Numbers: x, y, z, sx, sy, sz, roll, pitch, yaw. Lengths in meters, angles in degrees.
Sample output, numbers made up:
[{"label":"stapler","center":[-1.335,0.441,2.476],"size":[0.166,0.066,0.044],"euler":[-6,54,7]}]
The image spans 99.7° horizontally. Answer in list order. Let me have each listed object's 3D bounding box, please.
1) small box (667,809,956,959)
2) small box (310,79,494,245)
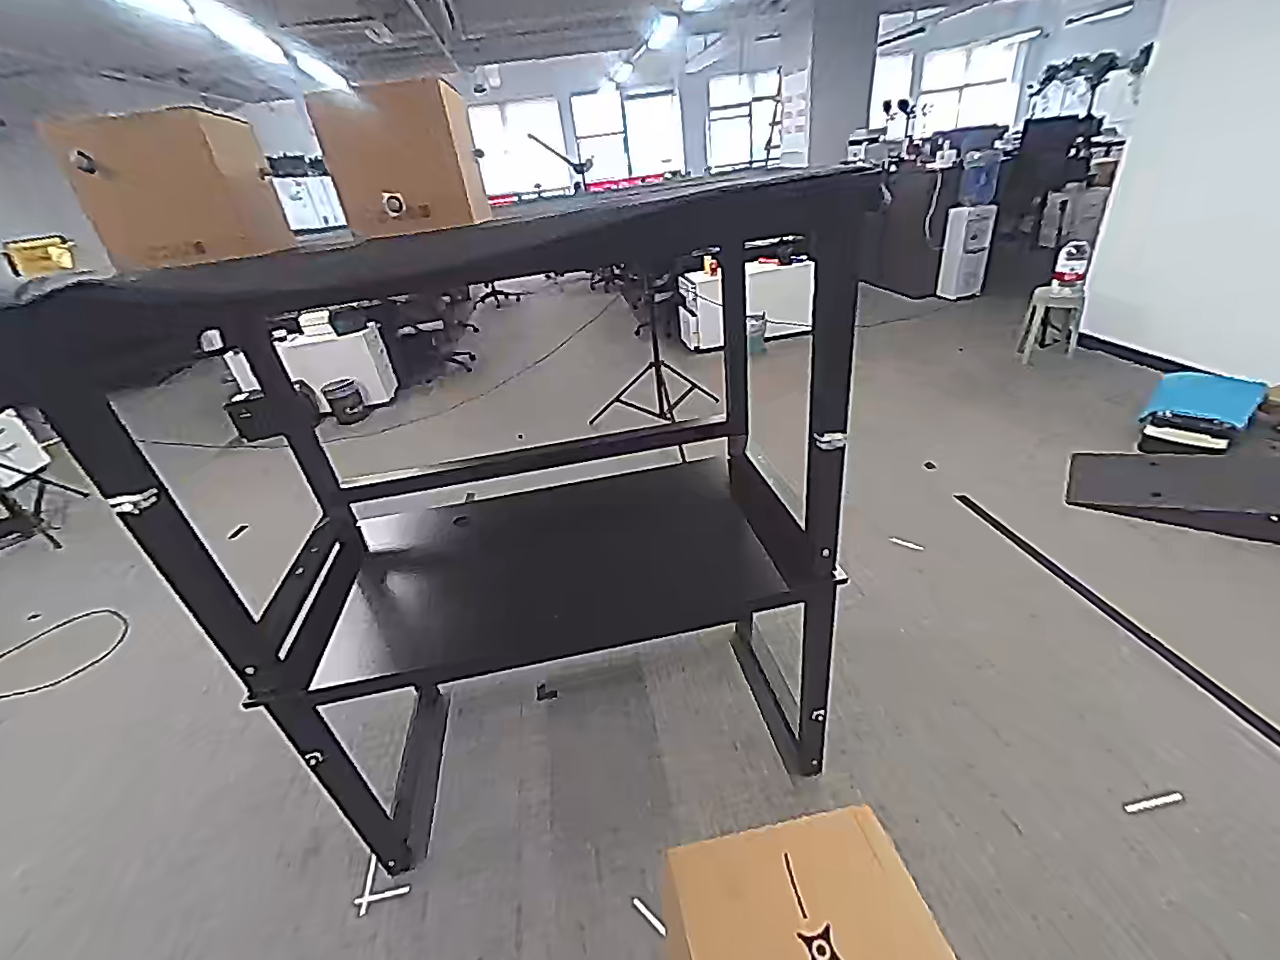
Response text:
[{"label":"small box","center":[0.119,0.376,0.373],"size":[0.168,0.176,0.179],"euler":[-7,29,-10]},{"label":"small box","center":[-0.310,-0.431,0.751],"size":[0.168,0.176,0.179],"euler":[-10,29,-2]}]
